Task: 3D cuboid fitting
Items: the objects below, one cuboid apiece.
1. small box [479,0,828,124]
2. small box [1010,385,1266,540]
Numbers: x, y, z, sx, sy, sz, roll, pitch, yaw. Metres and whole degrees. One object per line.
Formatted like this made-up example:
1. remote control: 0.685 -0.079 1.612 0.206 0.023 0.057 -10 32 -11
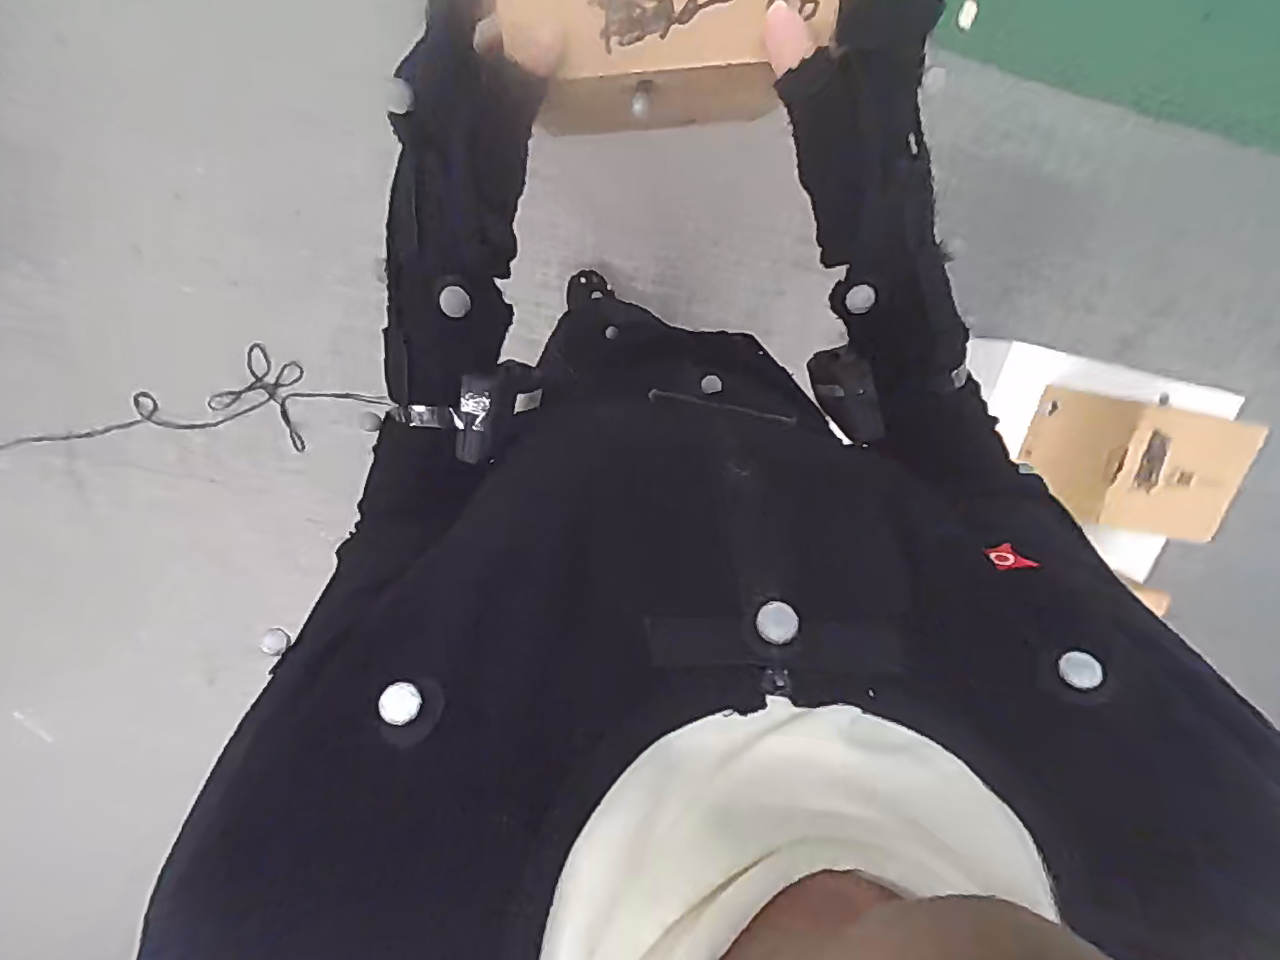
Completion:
1. small box: -0.002 -0.316 0.295 0.168 0.176 0.179 -5 116 0
2. small box: 0.680 -0.033 0.767 0.179 0.176 0.168 9 108 -6
